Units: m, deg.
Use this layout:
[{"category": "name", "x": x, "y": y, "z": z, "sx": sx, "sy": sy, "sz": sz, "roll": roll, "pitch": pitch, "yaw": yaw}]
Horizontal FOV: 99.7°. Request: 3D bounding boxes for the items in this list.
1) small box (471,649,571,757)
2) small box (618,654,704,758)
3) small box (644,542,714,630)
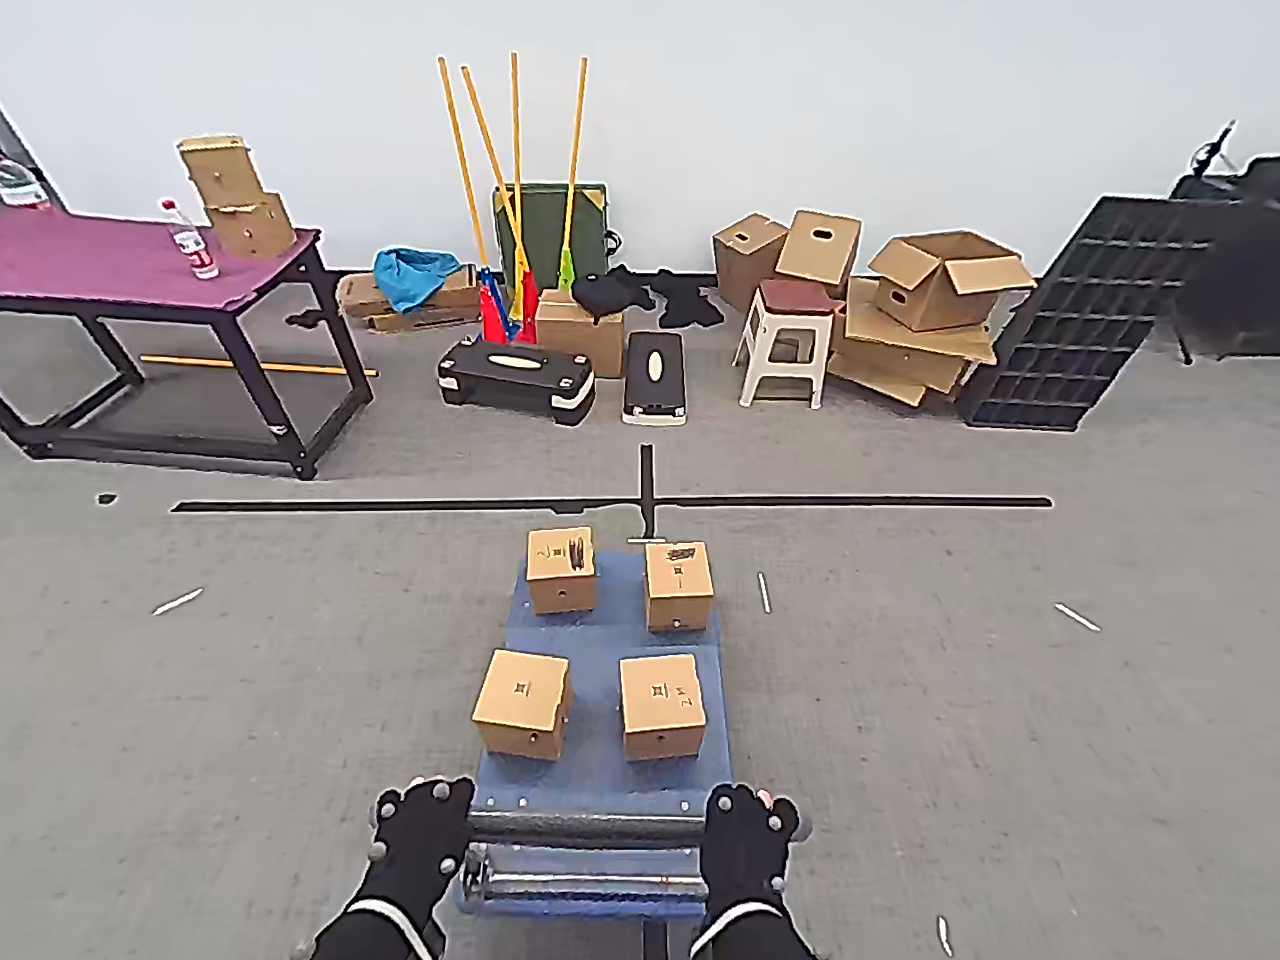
[{"category": "small box", "x": -0.262, "y": 0.512, "z": 1.237, "sx": 0.179, "sy": 0.176, "sz": 0.168, "roll": 7, "pitch": 44, "yaw": 3}, {"category": "small box", "x": 0.043, "y": 0.521, "z": 1.239, "sx": 0.179, "sy": 0.176, "sz": 0.168, "roll": -3, "pitch": 45, "yaw": -5}, {"category": "small box", "x": 0.100, "y": 0.290, "z": 1.479, "sx": 0.168, "sy": 0.176, "sz": 0.179, "roll": -1, "pitch": 45, "yaw": -3}]
